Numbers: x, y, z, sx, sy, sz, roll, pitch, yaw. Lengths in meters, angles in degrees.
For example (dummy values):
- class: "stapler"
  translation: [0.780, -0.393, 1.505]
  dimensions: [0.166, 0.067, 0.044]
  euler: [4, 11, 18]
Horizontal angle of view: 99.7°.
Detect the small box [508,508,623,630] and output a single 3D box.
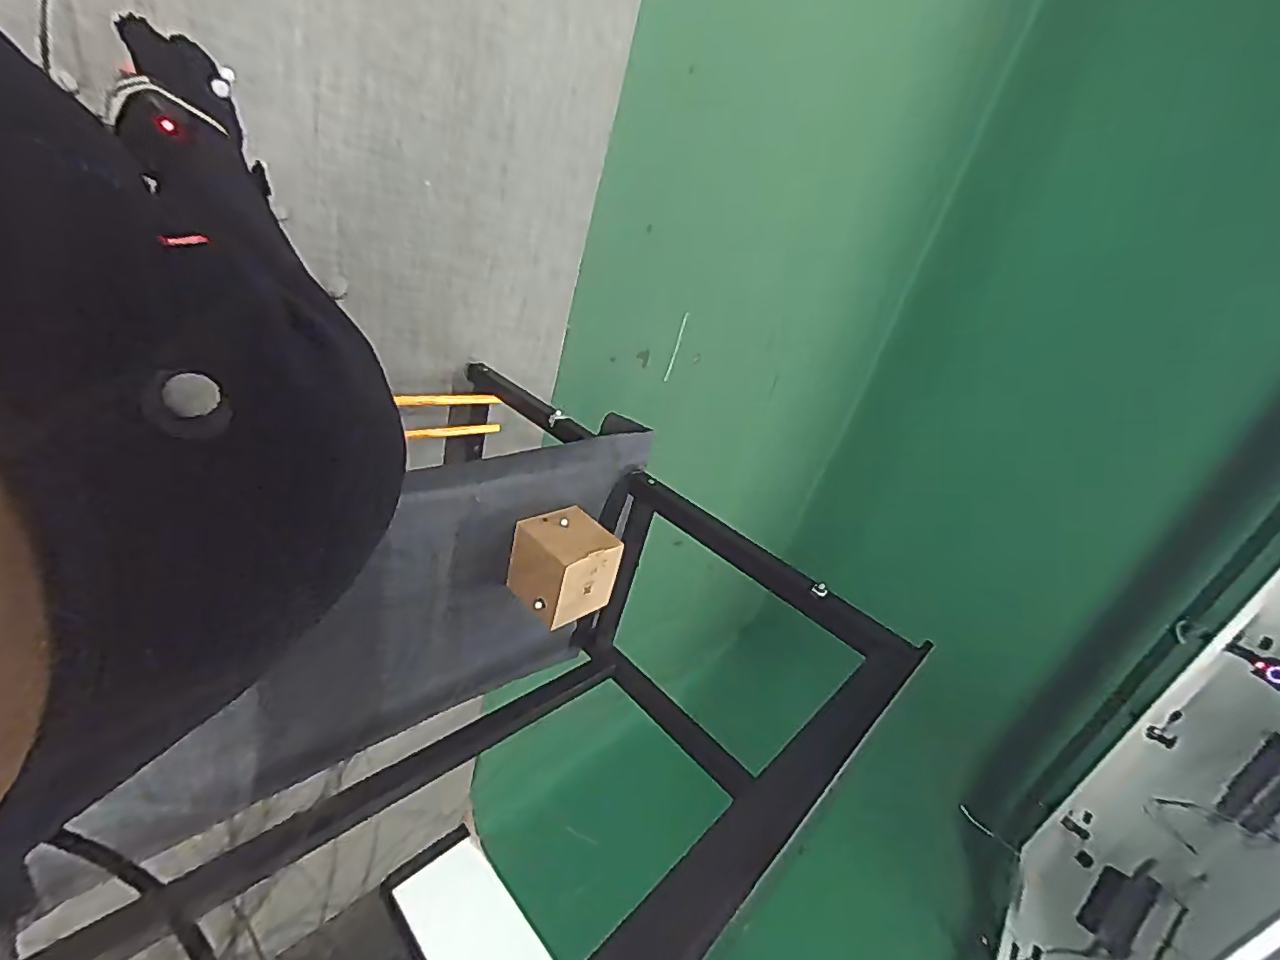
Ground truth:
- class: "small box"
  translation: [-0.168, 0.187, 1.178]
  dimensions: [0.168, 0.176, 0.179]
  euler: [-15, 129, -47]
